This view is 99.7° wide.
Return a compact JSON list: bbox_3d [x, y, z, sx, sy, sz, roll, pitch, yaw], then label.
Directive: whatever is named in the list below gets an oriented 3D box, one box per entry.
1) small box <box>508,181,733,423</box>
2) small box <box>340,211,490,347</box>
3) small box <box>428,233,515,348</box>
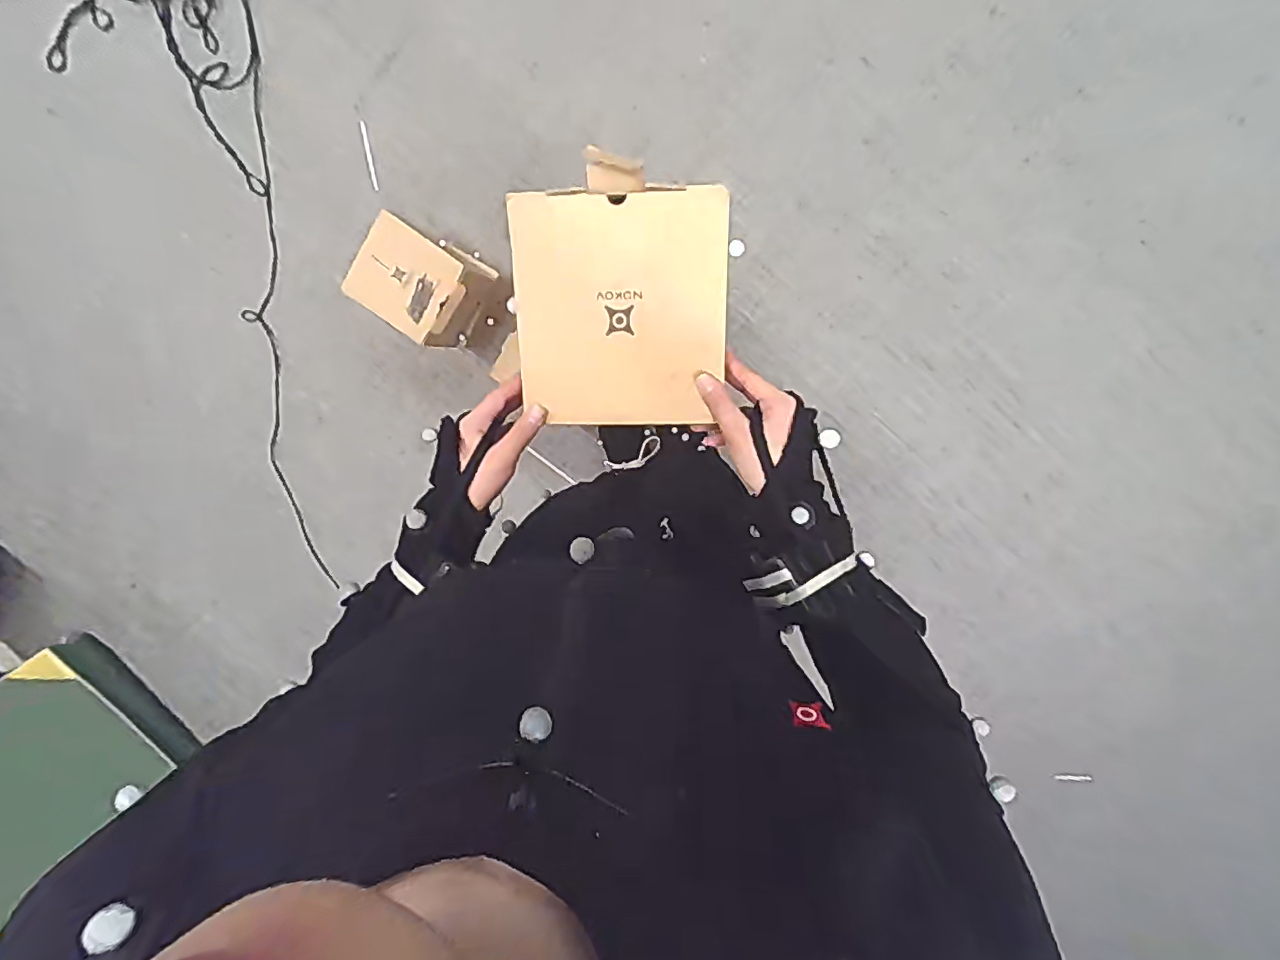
[{"bbox_3d":[-0.007,-0.154,0.488,0.168,0.176,0.179,0,108,5],"label":"small box"},{"bbox_3d":[-0.416,-0.371,1.033,0.179,0.176,0.168,35,101,-4],"label":"small box"},{"bbox_3d":[-0.397,-0.405,1.194,0.168,0.176,0.179,30,102,-3],"label":"small box"}]
